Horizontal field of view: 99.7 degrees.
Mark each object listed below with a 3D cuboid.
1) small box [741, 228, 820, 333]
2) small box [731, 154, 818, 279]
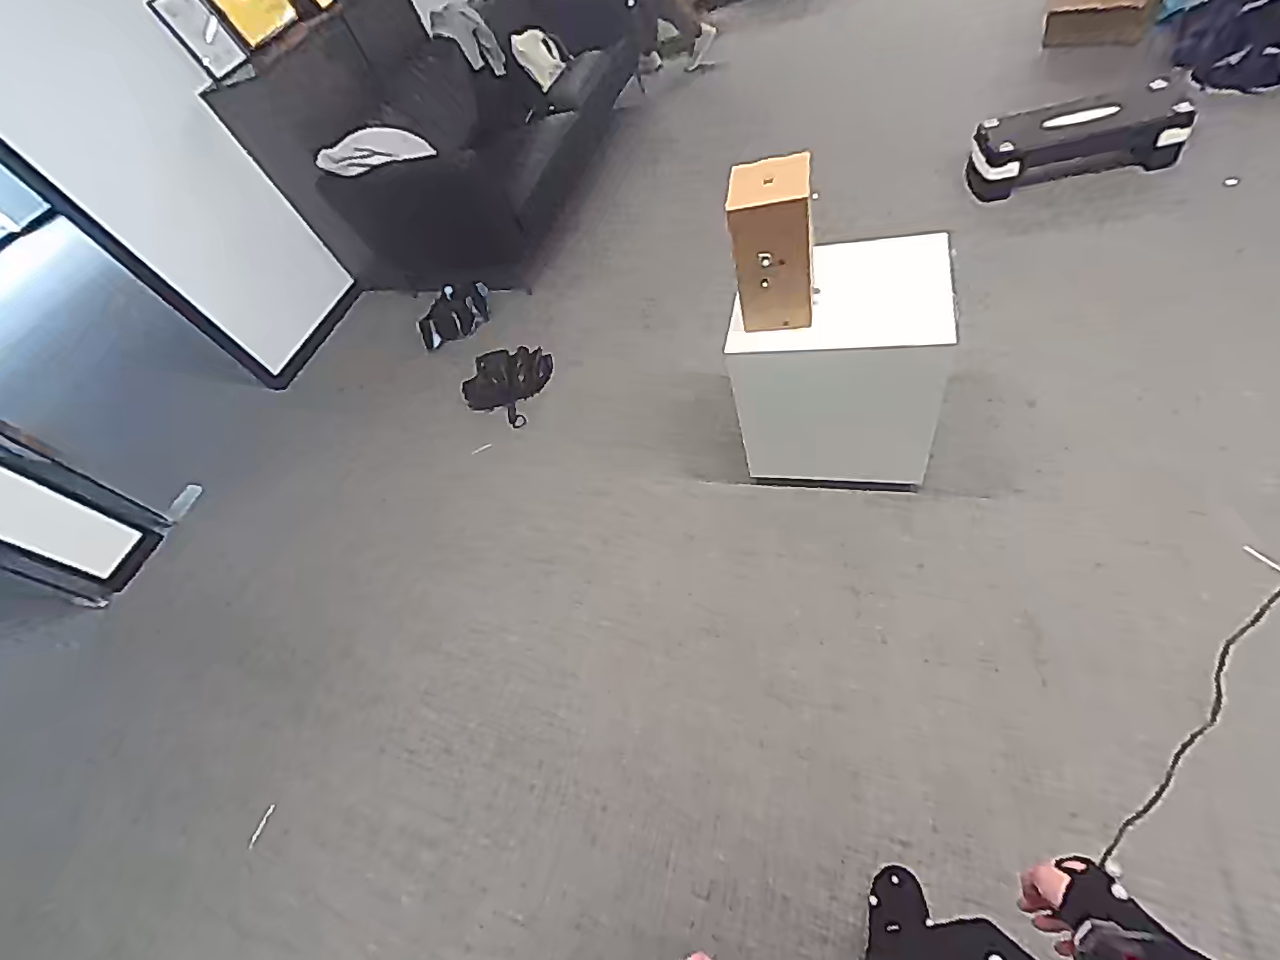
[{"bbox_3d":[0.346,-0.481,1.311,0.168,0.176,0.179,1,56,20],"label":"small box"},{"bbox_3d":[0.300,-0.571,1.183,0.168,0.176,0.179,-2,56,20],"label":"small box"}]
